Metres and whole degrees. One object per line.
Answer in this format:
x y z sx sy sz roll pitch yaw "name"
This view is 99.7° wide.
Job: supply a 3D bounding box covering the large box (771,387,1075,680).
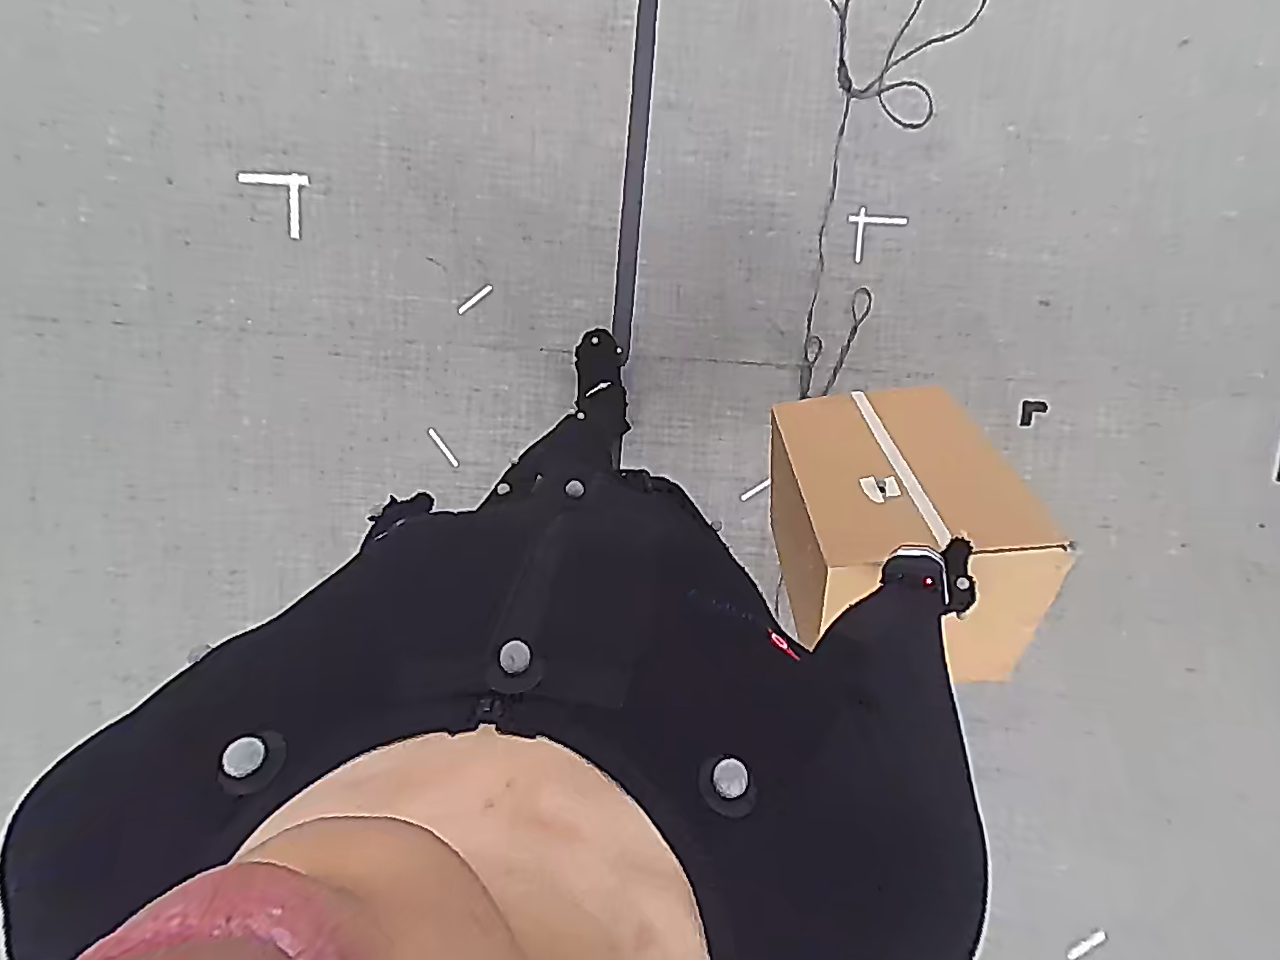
0.426 0.084 0.953 0.320 0.408 0.320 -6 130 5 "large box"
